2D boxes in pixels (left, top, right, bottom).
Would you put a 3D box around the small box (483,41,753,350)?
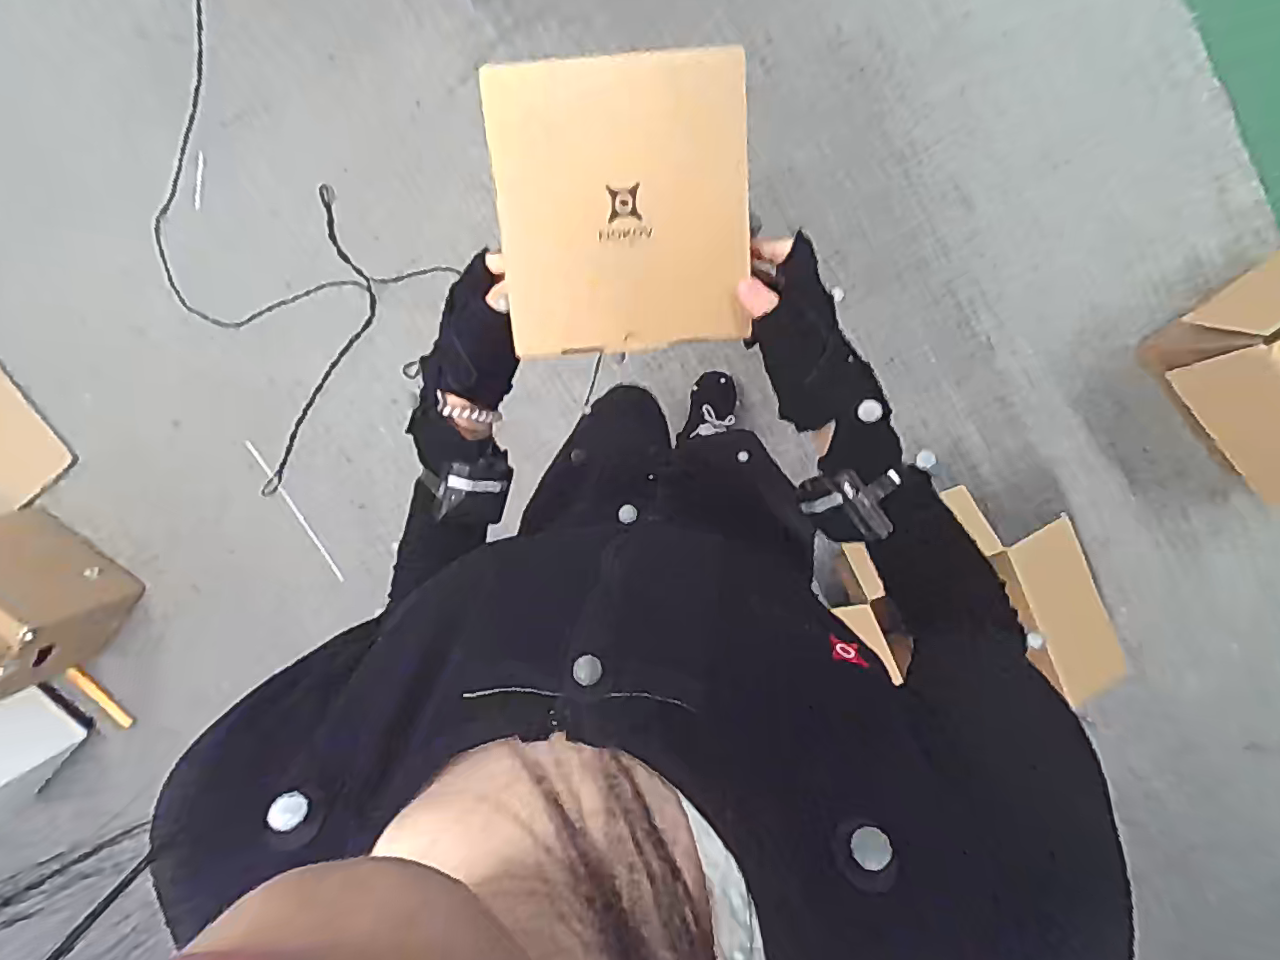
[{"bbox_3d":[-0.014,-0.199,0.429,0.168,0.176,0.179,-6,104,-1],"label":"small box"}]
